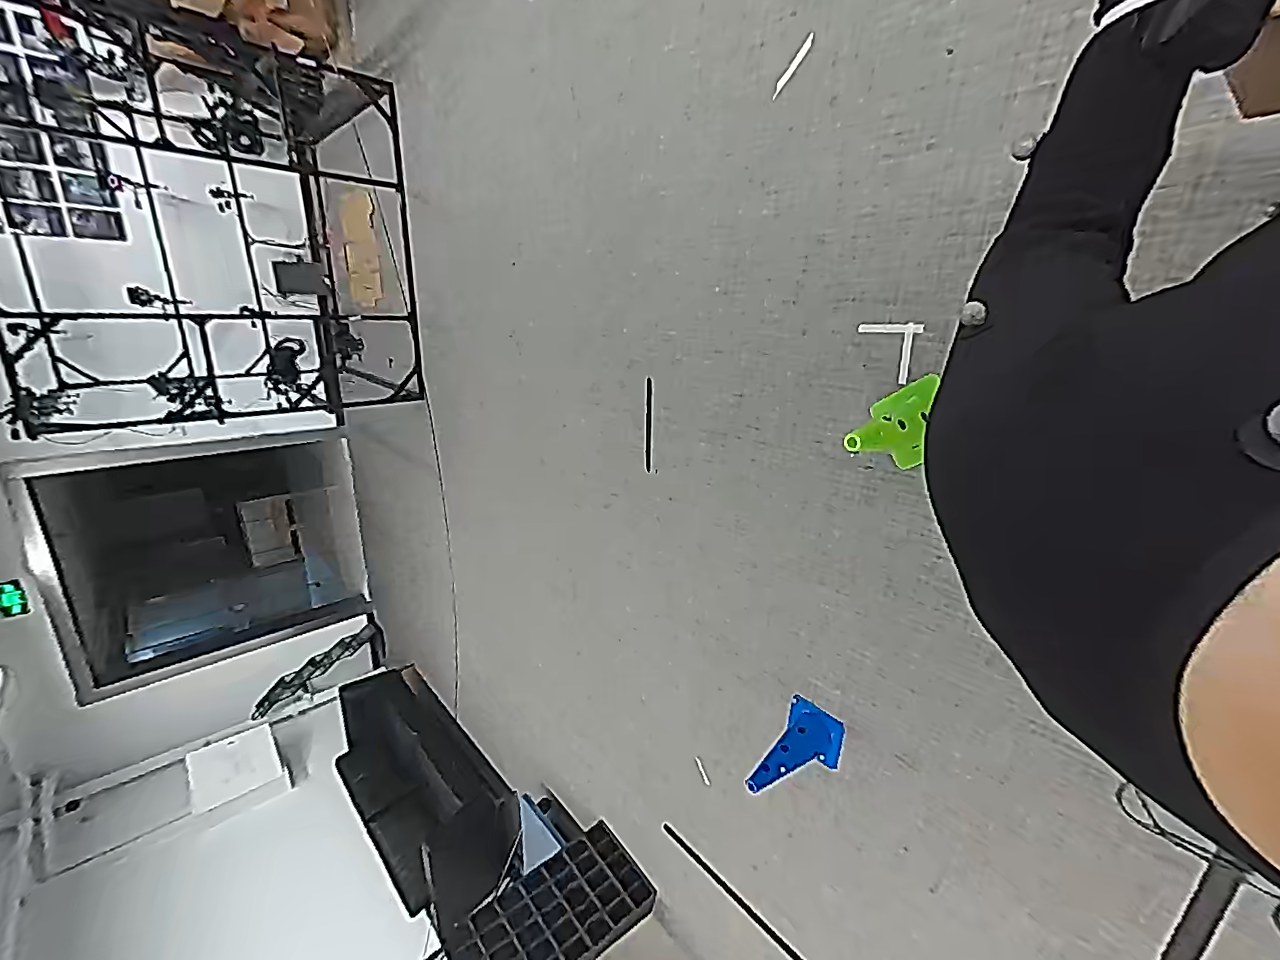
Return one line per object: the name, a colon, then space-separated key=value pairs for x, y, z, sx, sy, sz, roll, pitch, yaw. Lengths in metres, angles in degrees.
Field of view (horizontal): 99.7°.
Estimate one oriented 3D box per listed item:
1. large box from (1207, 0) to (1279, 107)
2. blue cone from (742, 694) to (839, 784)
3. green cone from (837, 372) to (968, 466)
large box: x=0.615 y=-0.438 z=0.263 sx=0.408 sy=0.320 sz=0.320 roll=21 pitch=119 yaw=45
blue cone: x=0.478 y=0.897 z=1.787 sx=0.192 sy=0.380 sz=0.193 roll=25 pitch=119 yaw=44
green cone: x=0.598 y=-0.126 z=1.318 sx=0.202 sy=0.368 sz=0.200 roll=-36 pitch=73 yaw=50
